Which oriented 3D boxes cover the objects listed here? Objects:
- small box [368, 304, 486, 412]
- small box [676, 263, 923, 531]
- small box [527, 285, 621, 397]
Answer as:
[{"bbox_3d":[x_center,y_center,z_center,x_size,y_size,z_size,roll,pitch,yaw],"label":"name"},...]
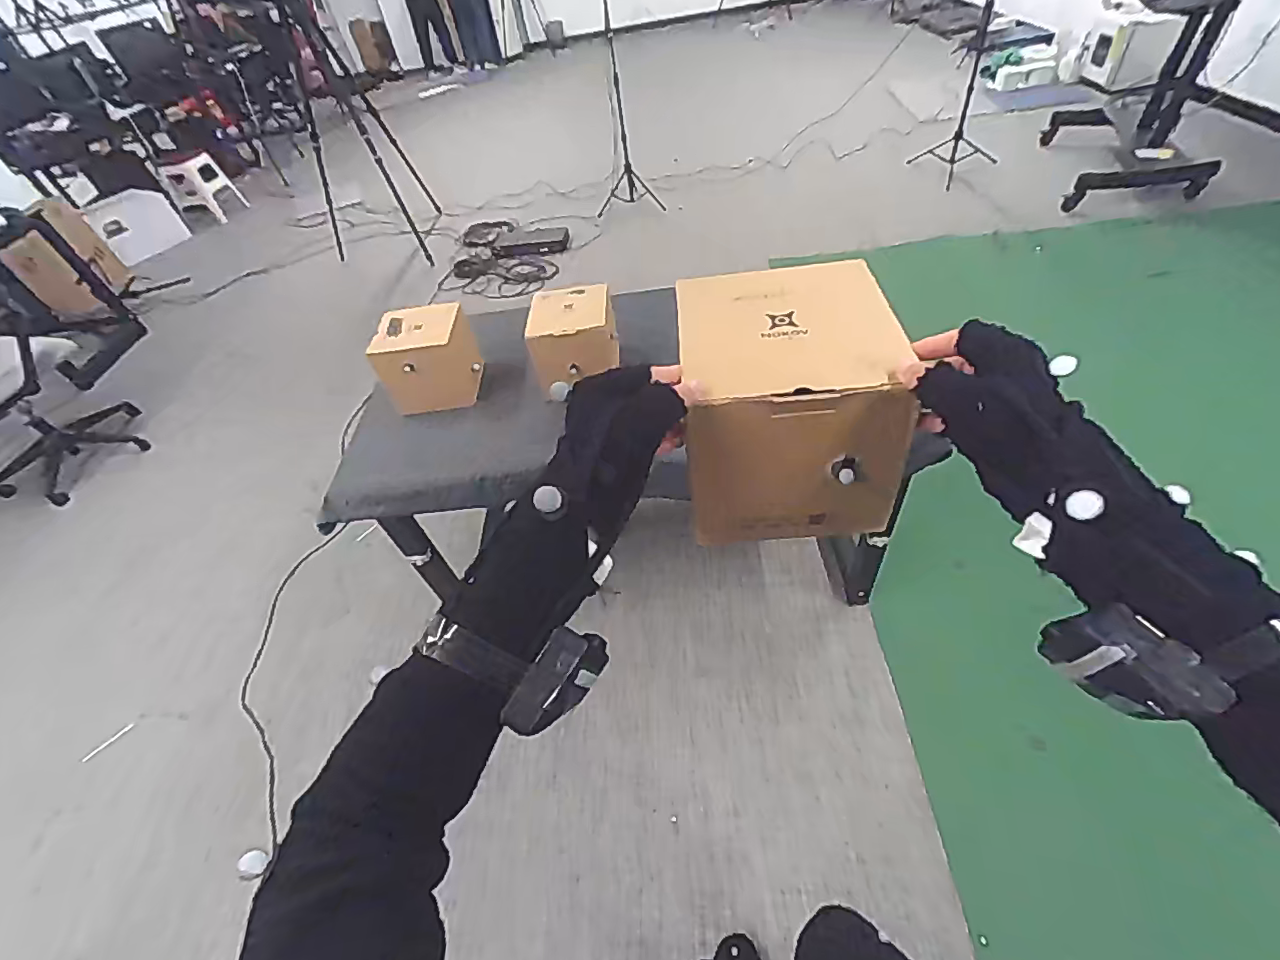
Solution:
[{"bbox_3d":[-0.465,-0.267,1.208,0.179,0.176,0.168,-7,48,2],"label":"small box"},{"bbox_3d":[0.123,-0.066,0.482,0.168,0.176,0.179,-5,46,5],"label":"small box"},{"bbox_3d":[-0.135,-0.295,1.178,0.168,0.176,0.179,-6,48,5],"label":"small box"}]
